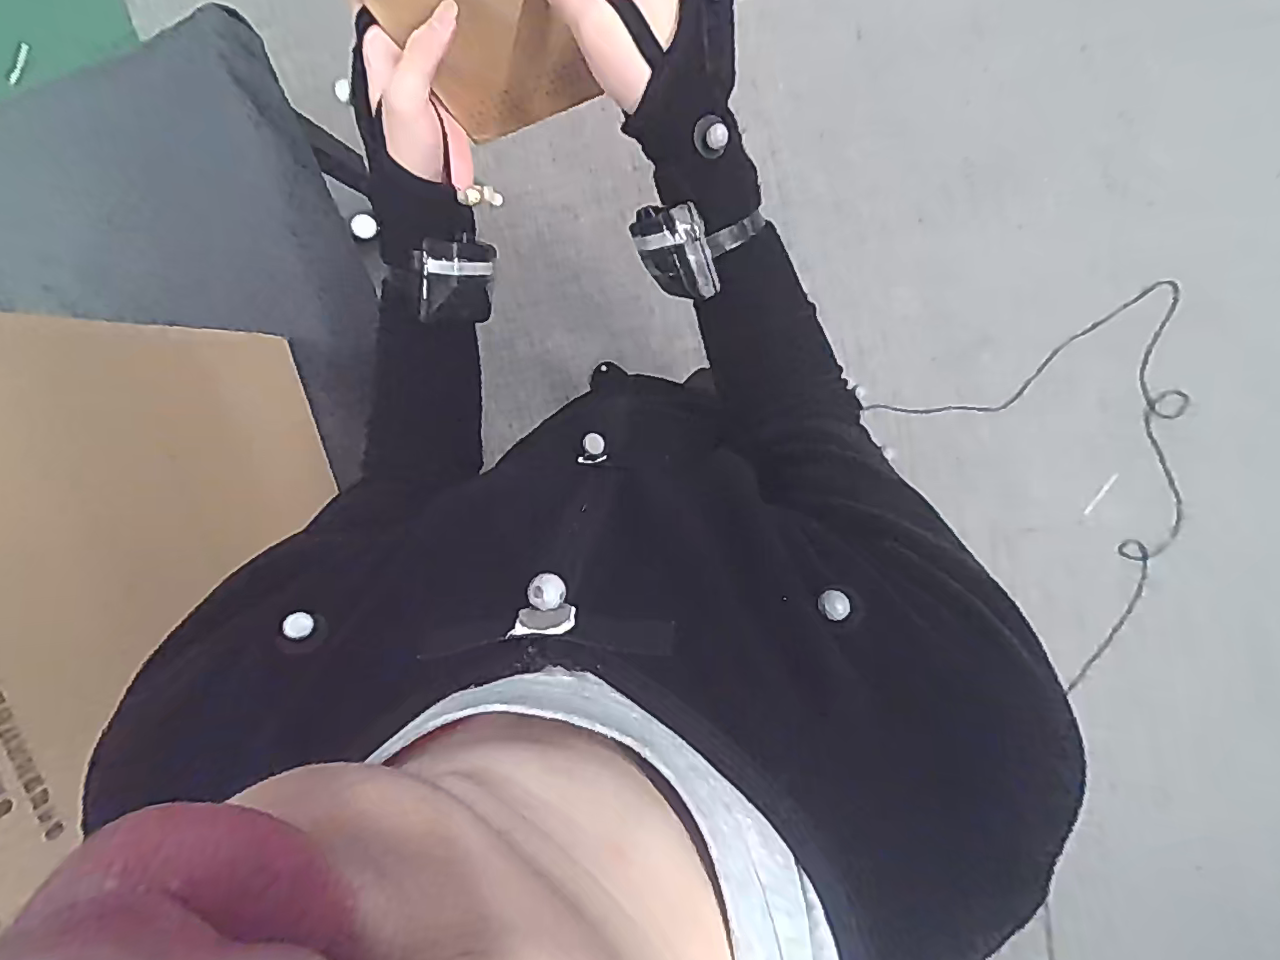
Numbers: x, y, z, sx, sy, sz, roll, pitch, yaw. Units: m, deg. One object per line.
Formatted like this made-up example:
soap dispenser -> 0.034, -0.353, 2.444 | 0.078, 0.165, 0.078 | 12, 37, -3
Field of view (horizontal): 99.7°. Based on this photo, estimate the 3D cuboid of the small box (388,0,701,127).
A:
small box -> -0.074, -0.359, 0.321 | 0.179, 0.176, 0.168 | -12, 76, 15
